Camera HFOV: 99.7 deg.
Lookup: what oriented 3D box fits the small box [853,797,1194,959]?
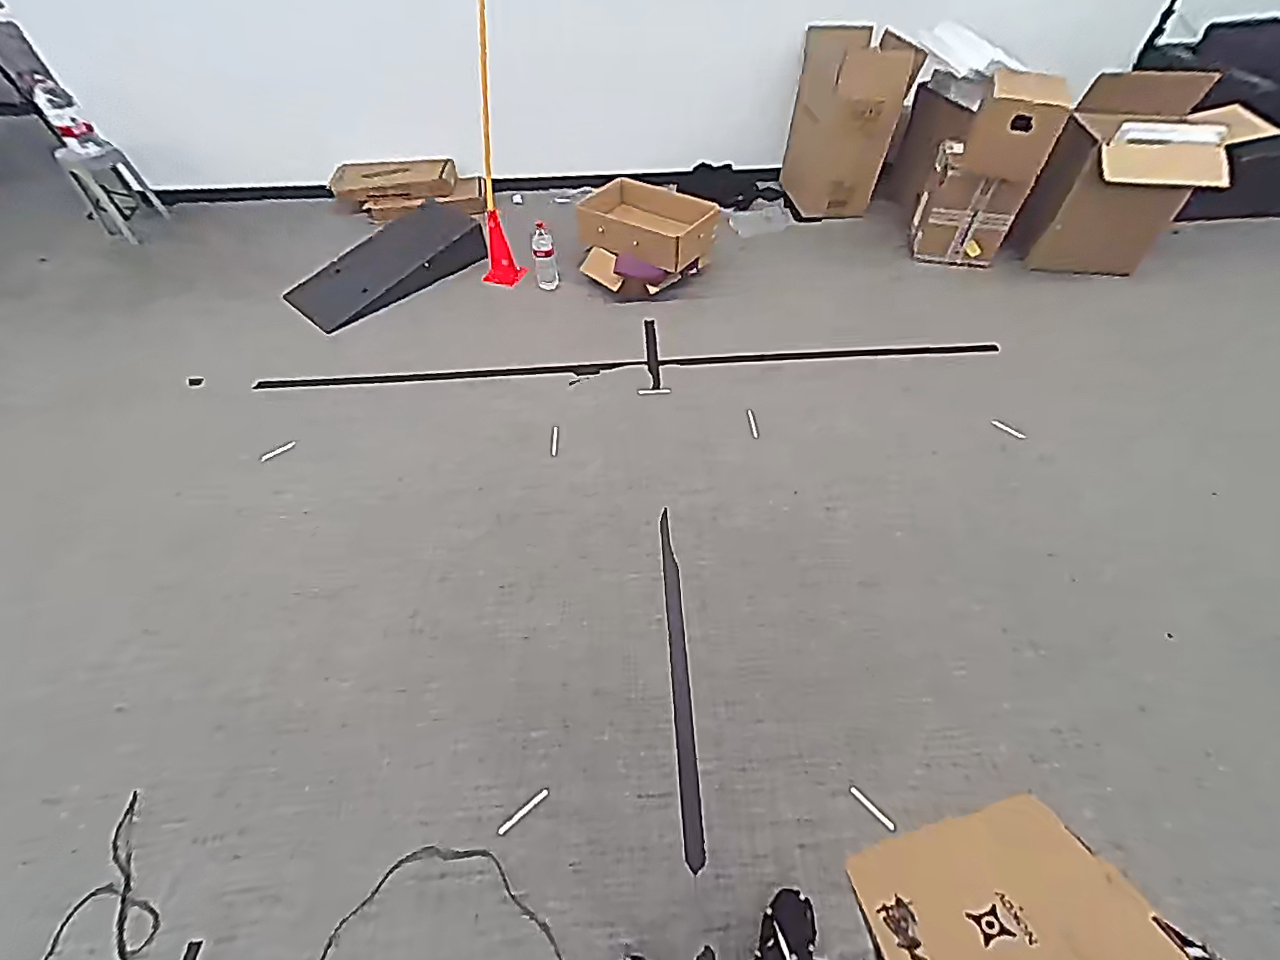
[{"bbox_3d":[0.294,0.393,0.410,0.179,0.176,0.168,-20,13,3],"label":"small box"}]
